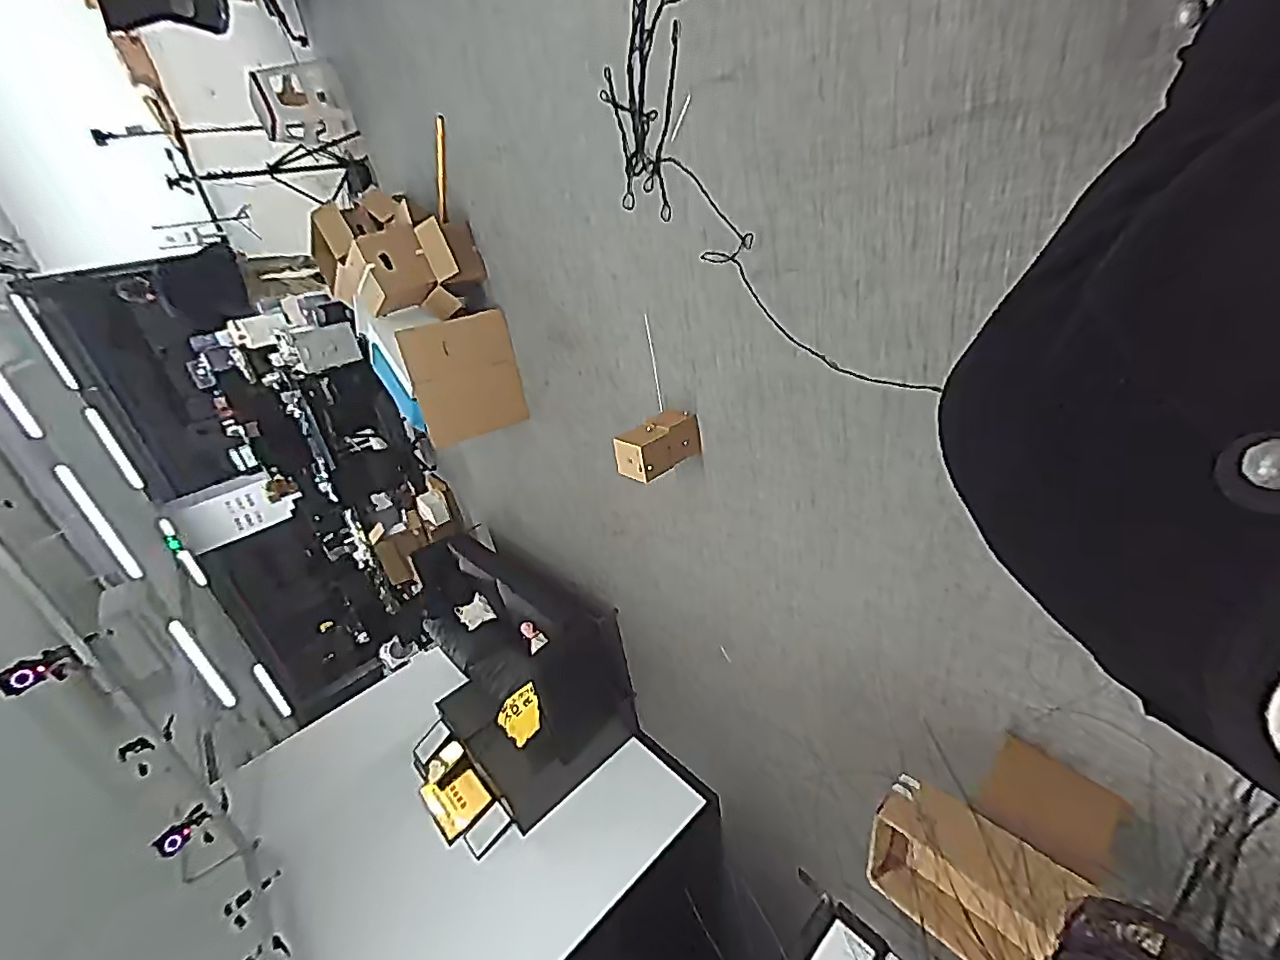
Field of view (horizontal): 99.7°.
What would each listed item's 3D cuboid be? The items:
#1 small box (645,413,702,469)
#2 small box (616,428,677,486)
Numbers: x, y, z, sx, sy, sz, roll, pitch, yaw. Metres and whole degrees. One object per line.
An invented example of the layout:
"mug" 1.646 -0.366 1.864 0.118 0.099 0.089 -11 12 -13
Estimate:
"small box" 0.147 -0.175 2.314 0.168 0.176 0.179 20 130 46
"small box" 0.028 -0.102 2.228 0.179 0.176 0.168 22 132 46
